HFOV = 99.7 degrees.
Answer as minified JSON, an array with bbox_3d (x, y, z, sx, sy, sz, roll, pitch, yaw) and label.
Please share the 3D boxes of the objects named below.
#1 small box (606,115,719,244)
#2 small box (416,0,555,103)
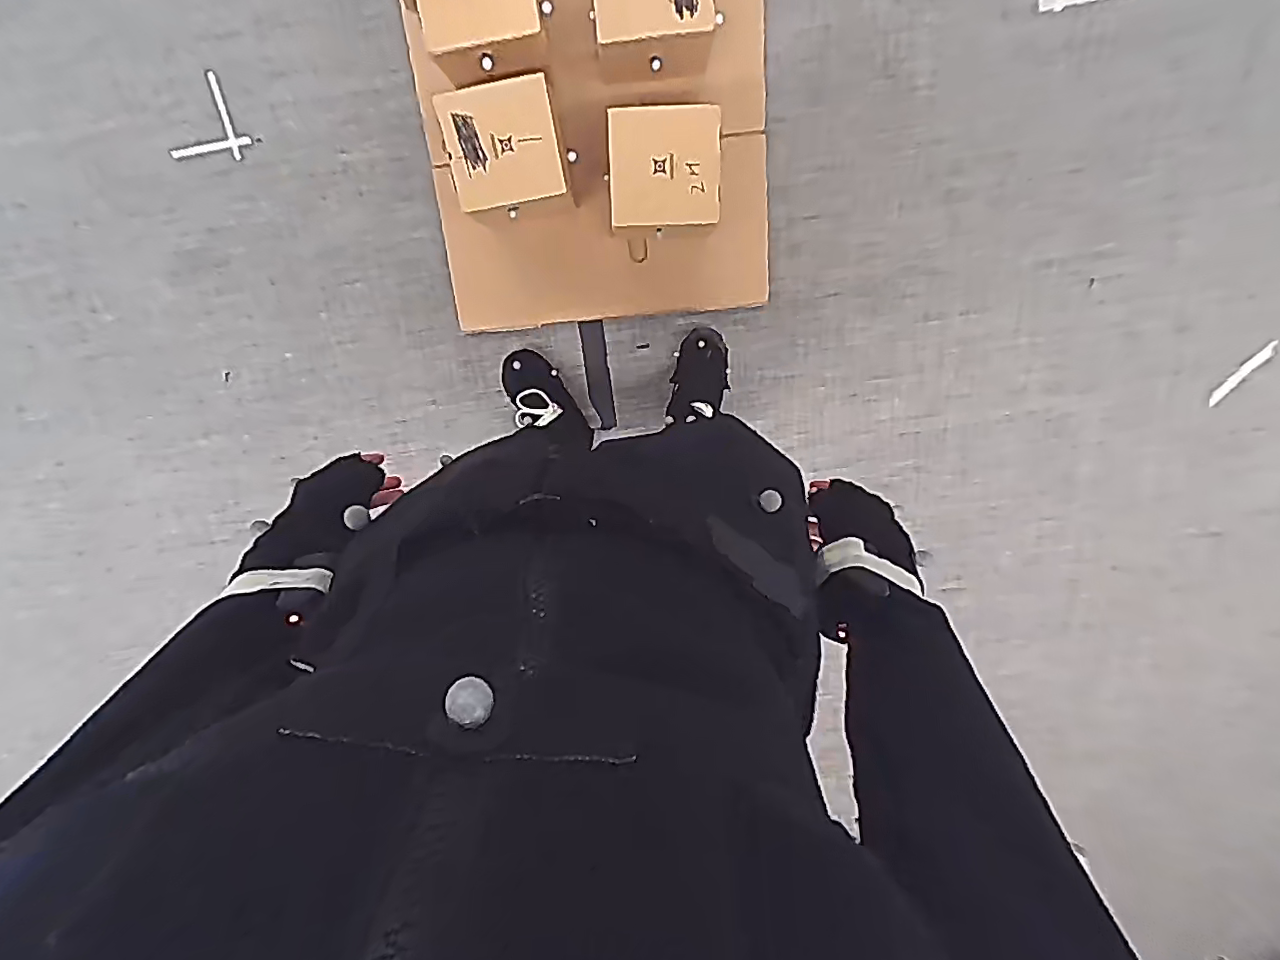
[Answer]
[{"bbox_3d":[0.037,-0.504,0.927,0.179,0.176,0.168,-1,108,1],"label":"small box"},{"bbox_3d":[-0.239,-0.731,0.856,0.179,0.176,0.168,-8,107,4],"label":"small box"}]
